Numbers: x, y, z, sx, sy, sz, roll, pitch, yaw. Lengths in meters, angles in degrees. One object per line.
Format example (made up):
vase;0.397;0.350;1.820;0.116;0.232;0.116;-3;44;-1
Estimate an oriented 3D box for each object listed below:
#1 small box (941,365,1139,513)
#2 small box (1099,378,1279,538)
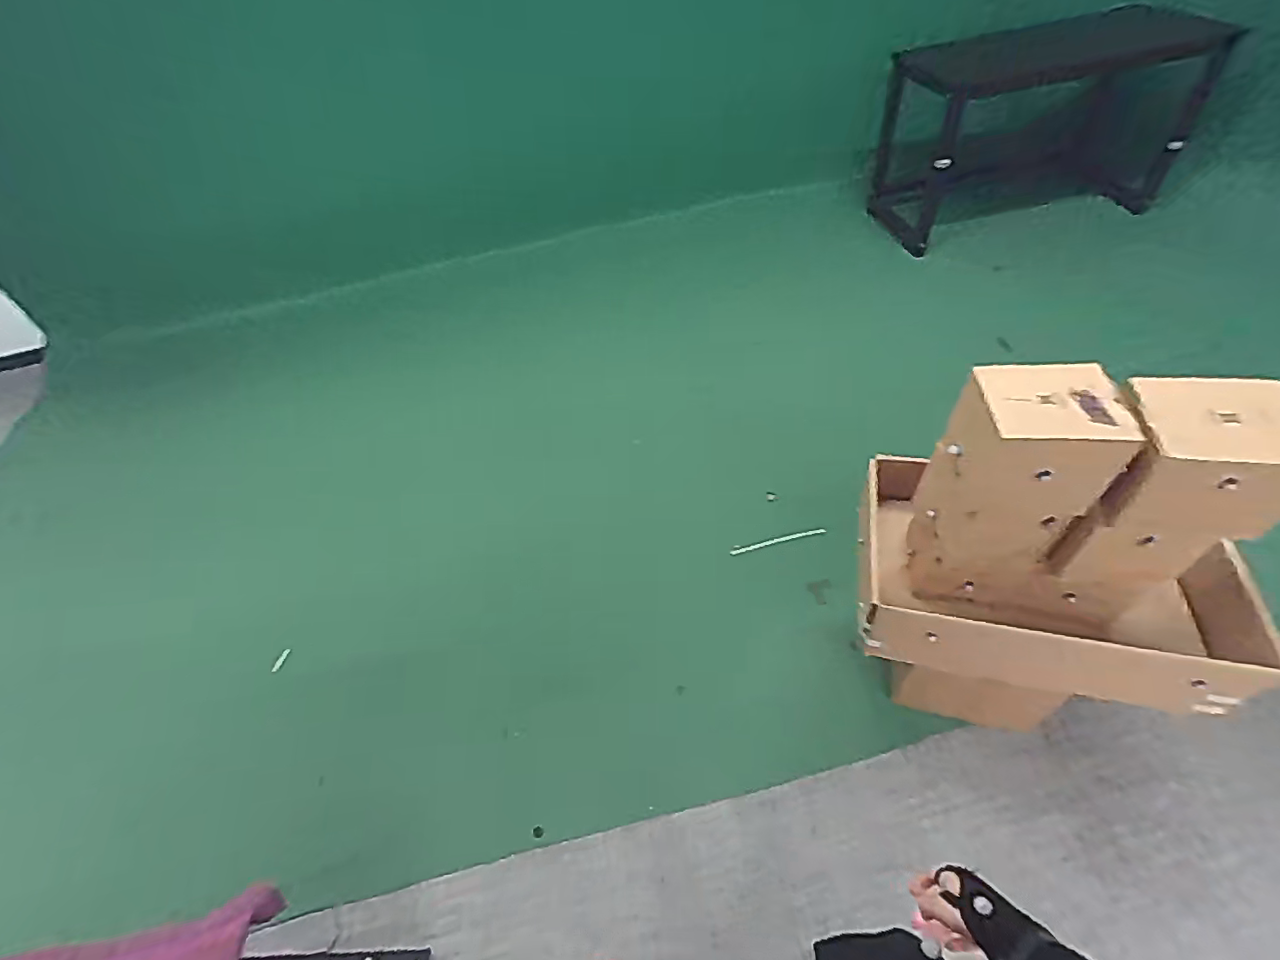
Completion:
small box;0.602;-0.061;0.845;0.179;0.176;0.168;1;48;11
small box;0.801;-0.031;0.790;0.179;0.176;0.168;5;51;17
